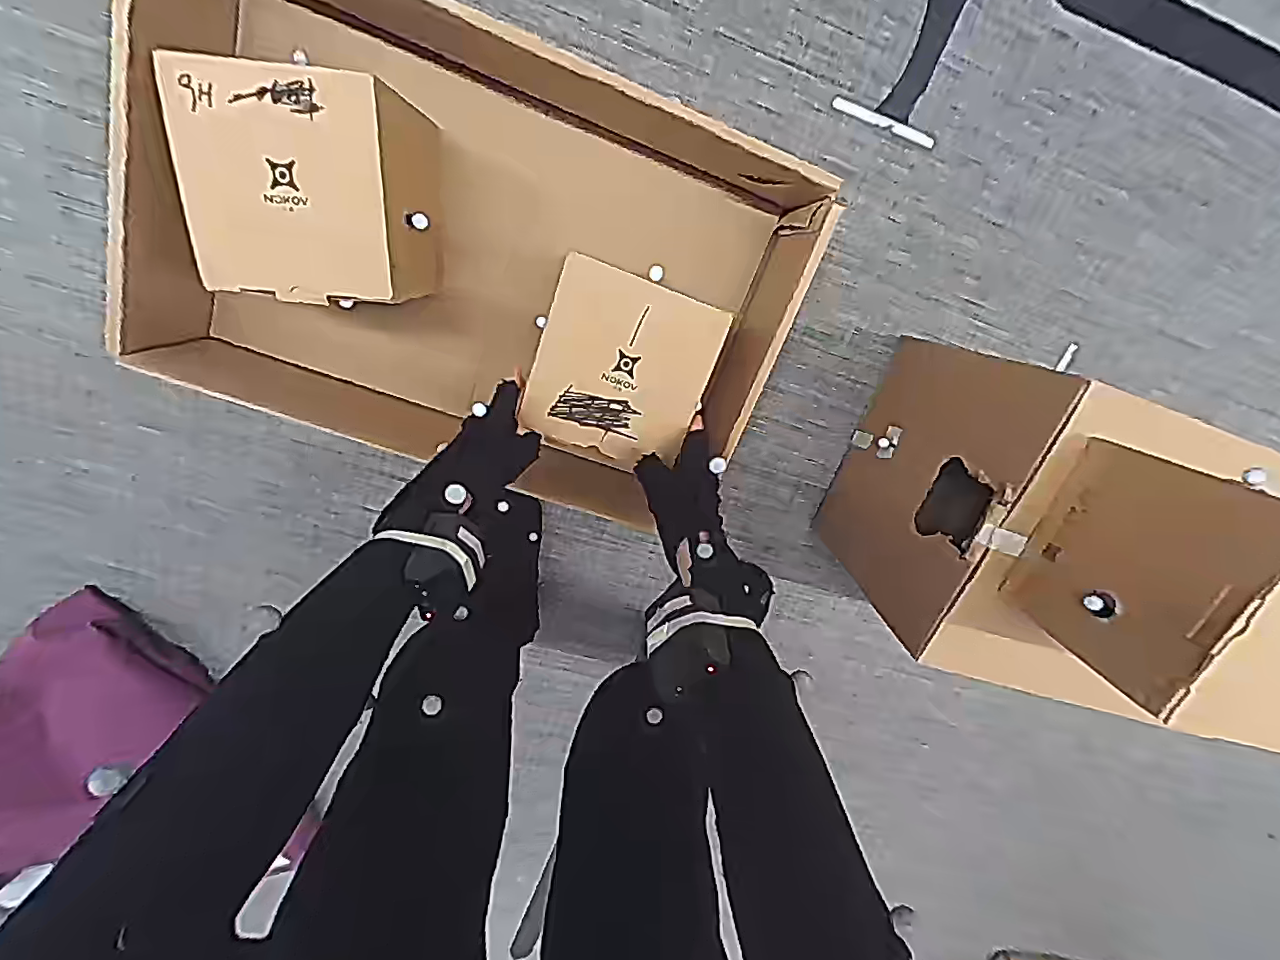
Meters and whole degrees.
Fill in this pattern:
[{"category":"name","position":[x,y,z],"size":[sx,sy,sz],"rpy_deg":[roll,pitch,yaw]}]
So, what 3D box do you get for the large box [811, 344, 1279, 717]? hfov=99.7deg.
[{"category":"large box","position":[0.504,0.043,0.693],"size":[0.408,0.320,0.320],"rpy_deg":[16,110,-11]}]
